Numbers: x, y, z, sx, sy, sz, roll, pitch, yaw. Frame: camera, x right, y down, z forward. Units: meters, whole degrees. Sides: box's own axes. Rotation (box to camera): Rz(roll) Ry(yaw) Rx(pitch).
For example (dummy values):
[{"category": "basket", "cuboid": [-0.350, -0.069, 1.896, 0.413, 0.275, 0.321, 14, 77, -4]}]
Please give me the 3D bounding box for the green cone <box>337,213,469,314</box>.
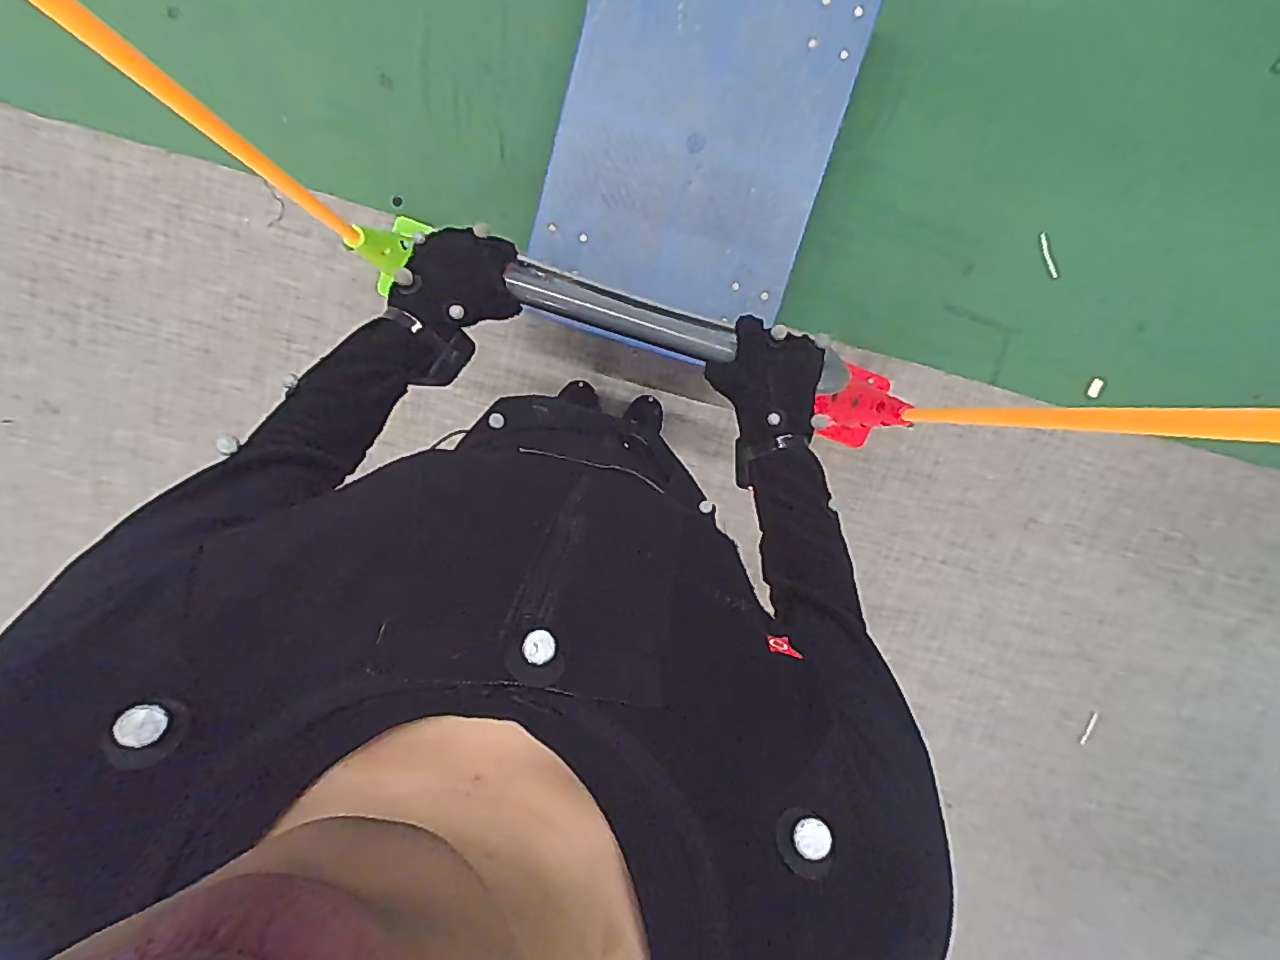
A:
[{"category": "green cone", "cuboid": [-0.547, -0.510, 1.194, 0.202, 0.368, 0.200, 20, 100, -4]}]
